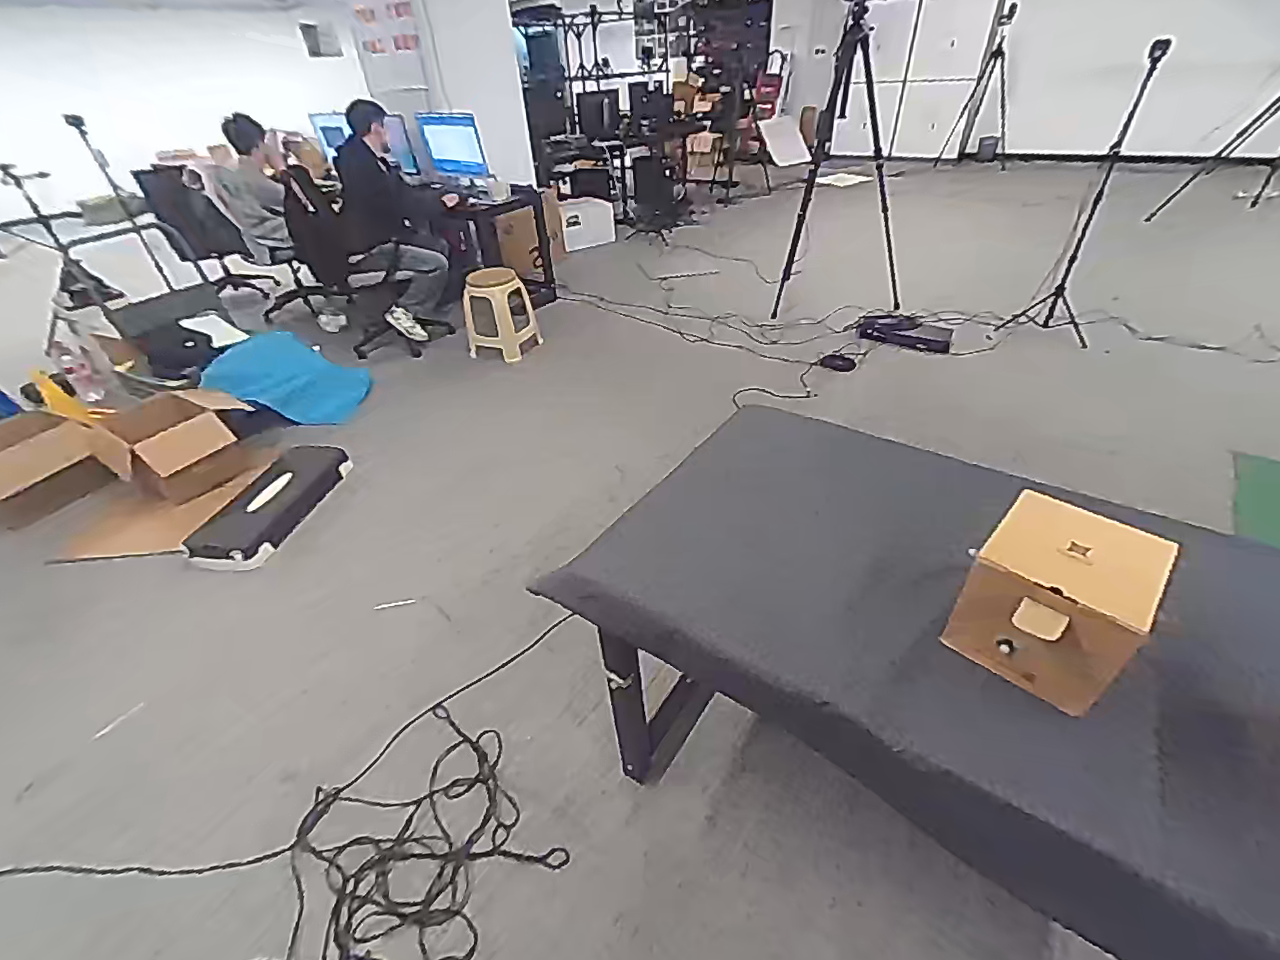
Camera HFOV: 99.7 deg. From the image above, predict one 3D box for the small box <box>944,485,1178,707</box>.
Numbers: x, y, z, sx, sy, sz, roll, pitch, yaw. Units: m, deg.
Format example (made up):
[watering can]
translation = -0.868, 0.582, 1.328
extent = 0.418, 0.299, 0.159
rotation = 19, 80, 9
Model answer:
[small box]
translation = 0.518, 0.141, 0.684
extent = 0.179, 0.176, 0.168
rotation = -33, 47, -32
